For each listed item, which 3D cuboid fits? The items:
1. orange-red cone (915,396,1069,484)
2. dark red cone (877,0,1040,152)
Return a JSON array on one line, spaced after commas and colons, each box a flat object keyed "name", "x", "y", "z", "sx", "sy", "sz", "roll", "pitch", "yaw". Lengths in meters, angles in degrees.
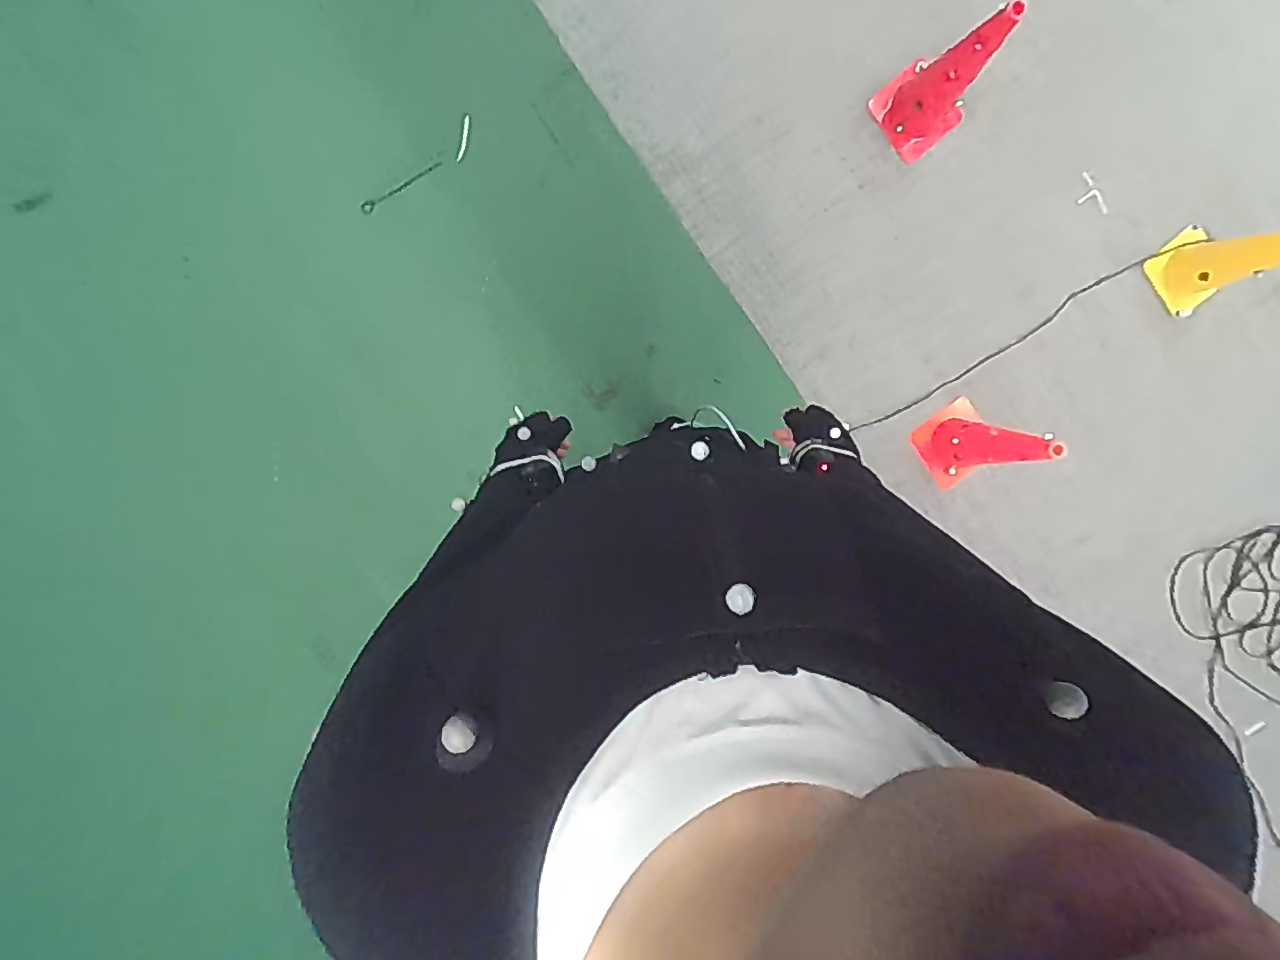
[{"name": "orange-red cone", "x": 0.908, "y": -0.093, "z": 1.356, "sx": 0.199, "sy": 0.360, "sz": 0.198, "roll": -36, "pitch": 98, "yaw": -1}, {"name": "dark red cone", "x": 0.741, "y": -0.961, "z": 1.229, "sx": 0.201, "sy": 0.394, "sz": 0.202, "roll": -42, "pitch": 97, "yaw": 2}]
